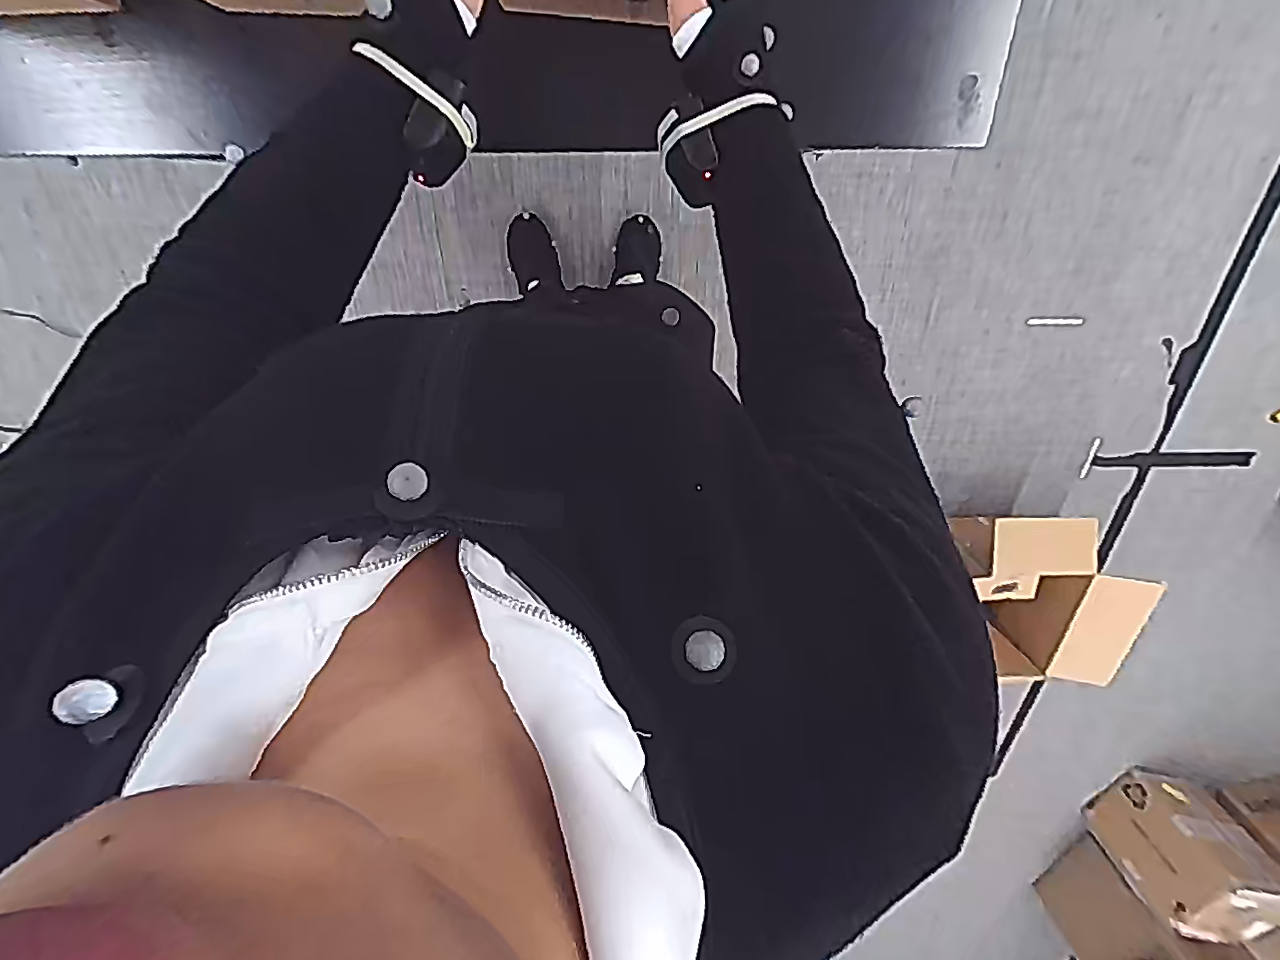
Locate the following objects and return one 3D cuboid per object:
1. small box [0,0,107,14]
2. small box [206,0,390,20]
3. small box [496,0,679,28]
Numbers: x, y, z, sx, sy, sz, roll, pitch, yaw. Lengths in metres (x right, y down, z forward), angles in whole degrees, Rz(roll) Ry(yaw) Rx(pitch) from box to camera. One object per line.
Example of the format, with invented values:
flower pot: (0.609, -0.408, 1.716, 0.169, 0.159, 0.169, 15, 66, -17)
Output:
small box: (-0.582, -0.480, 0.410, 0.179, 0.176, 0.168, -3, 118, -1)
small box: (-0.309, -0.487, 0.420, 0.179, 0.176, 0.168, 0, 117, -3)
small box: (-0.043, -0.493, 0.434, 0.179, 0.176, 0.168, 2, 117, -3)
